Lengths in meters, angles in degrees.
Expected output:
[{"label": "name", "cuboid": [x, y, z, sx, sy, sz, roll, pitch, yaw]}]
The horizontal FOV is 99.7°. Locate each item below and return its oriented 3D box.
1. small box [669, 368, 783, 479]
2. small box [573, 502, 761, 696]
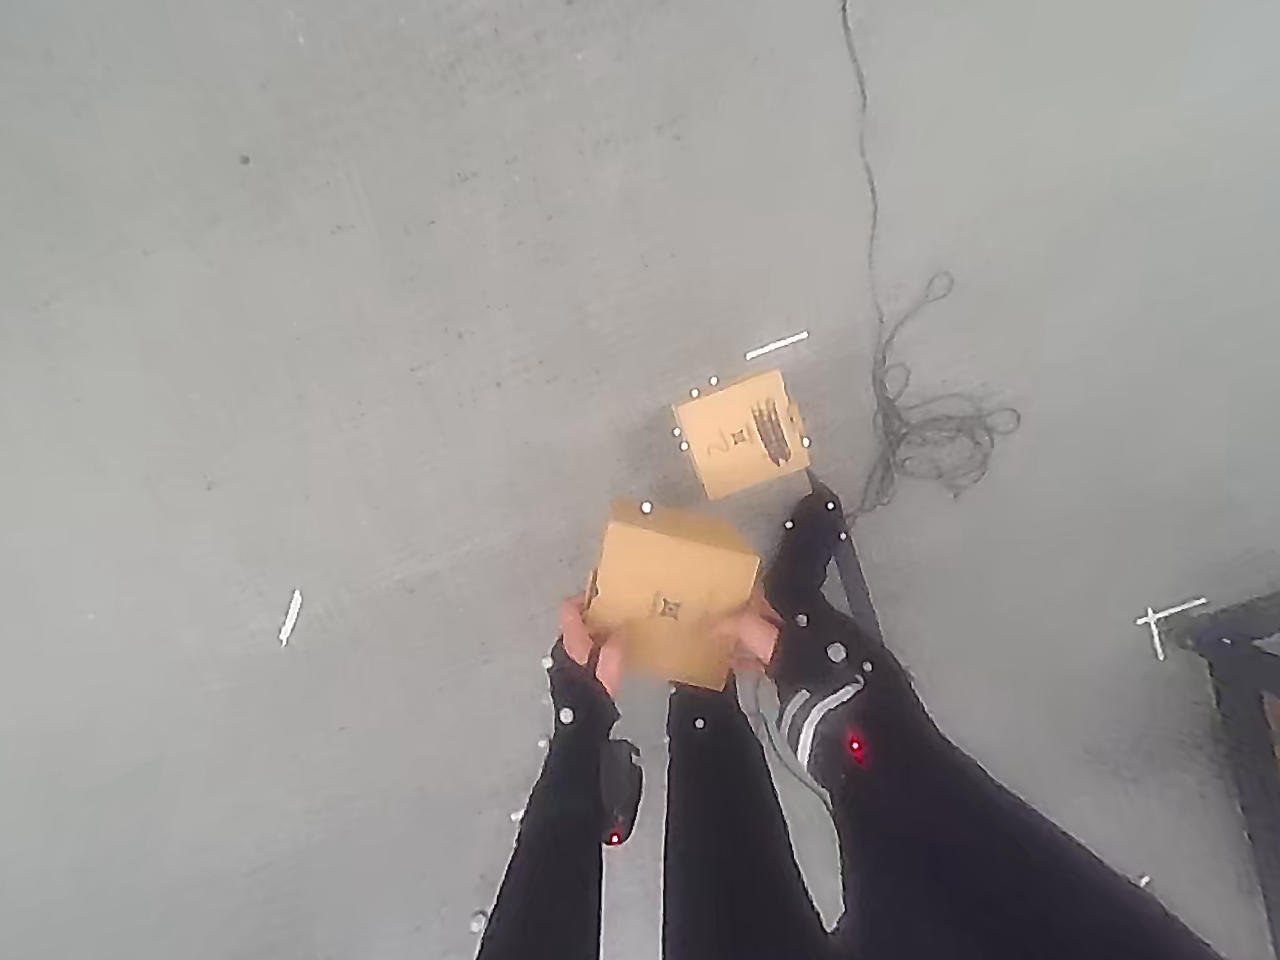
[{"label": "small box", "cuboid": [0.168, -0.117, 1.097, 0.179, 0.176, 0.168, -22, 99, 7]}, {"label": "small box", "cuboid": [0.027, 0.132, 0.666, 0.179, 0.176, 0.168, 13, 99, -3]}]
